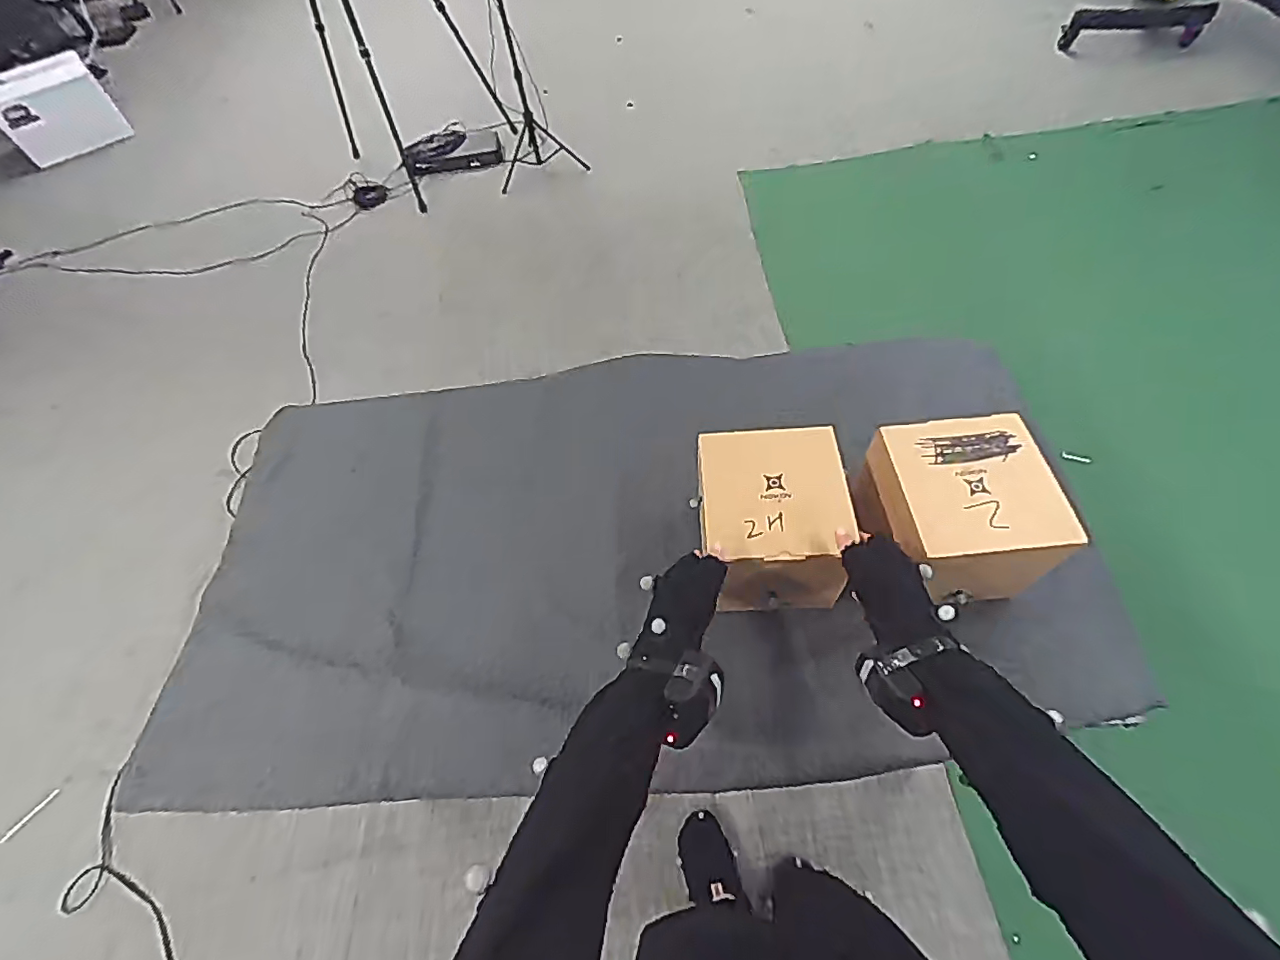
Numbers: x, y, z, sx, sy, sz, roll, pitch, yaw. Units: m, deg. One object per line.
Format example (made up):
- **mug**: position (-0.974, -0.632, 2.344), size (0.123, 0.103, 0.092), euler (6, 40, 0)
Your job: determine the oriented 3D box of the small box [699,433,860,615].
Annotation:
- **small box**: position (0.161, 0.061, 0.692), size (0.168, 0.176, 0.179), euler (-3, 57, 5)
